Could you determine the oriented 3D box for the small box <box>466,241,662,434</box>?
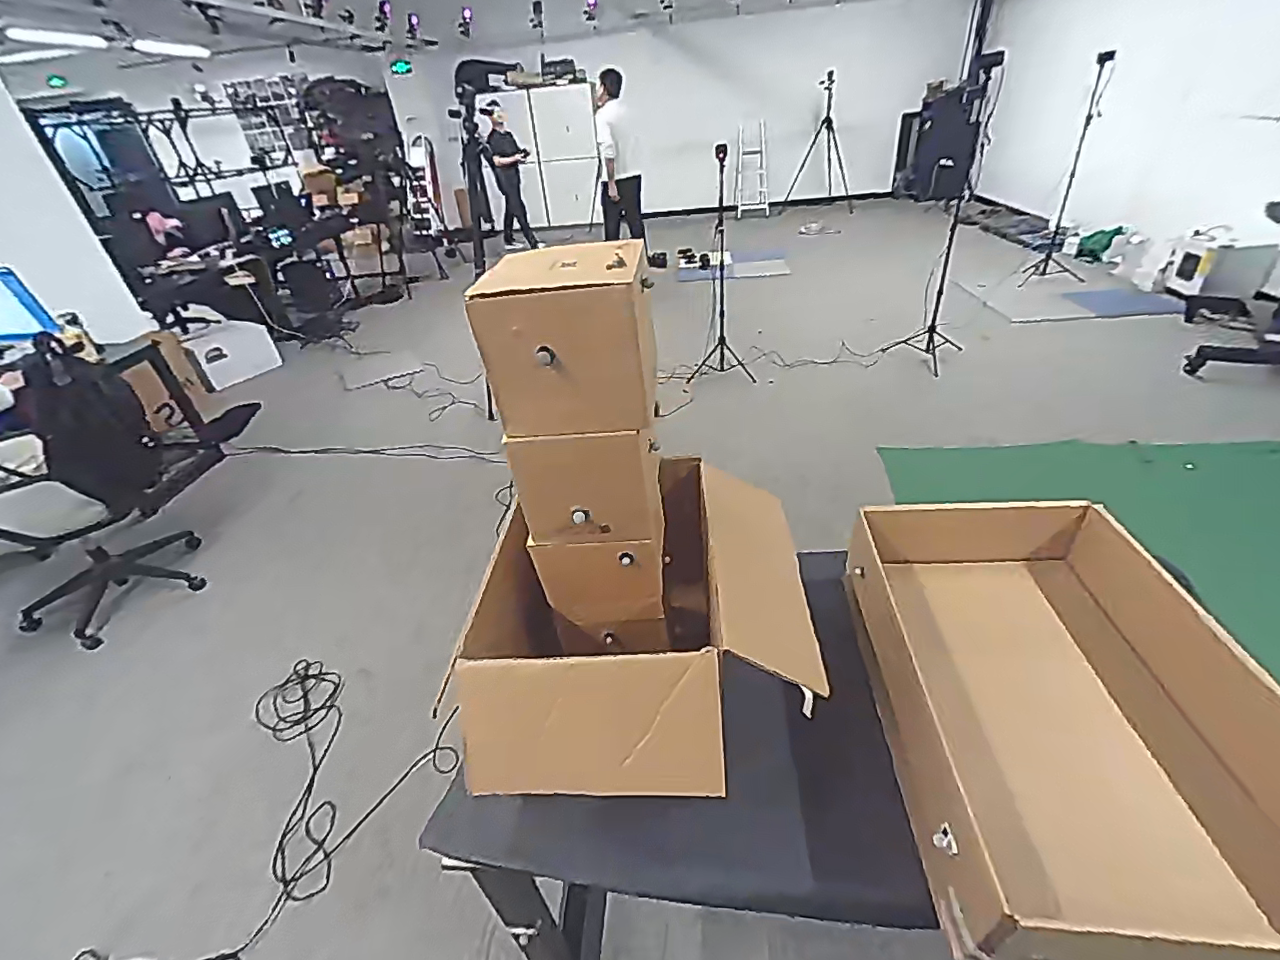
[{"bbox_3d":[-0.073,-0.165,0.639,0.179,0.176,0.168,-3,38,8],"label":"small box"}]

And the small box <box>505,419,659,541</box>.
[{"bbox_3d":[-0.065,-0.035,0.739,0.168,0.176,0.179,-3,38,8],"label":"small box"}]
